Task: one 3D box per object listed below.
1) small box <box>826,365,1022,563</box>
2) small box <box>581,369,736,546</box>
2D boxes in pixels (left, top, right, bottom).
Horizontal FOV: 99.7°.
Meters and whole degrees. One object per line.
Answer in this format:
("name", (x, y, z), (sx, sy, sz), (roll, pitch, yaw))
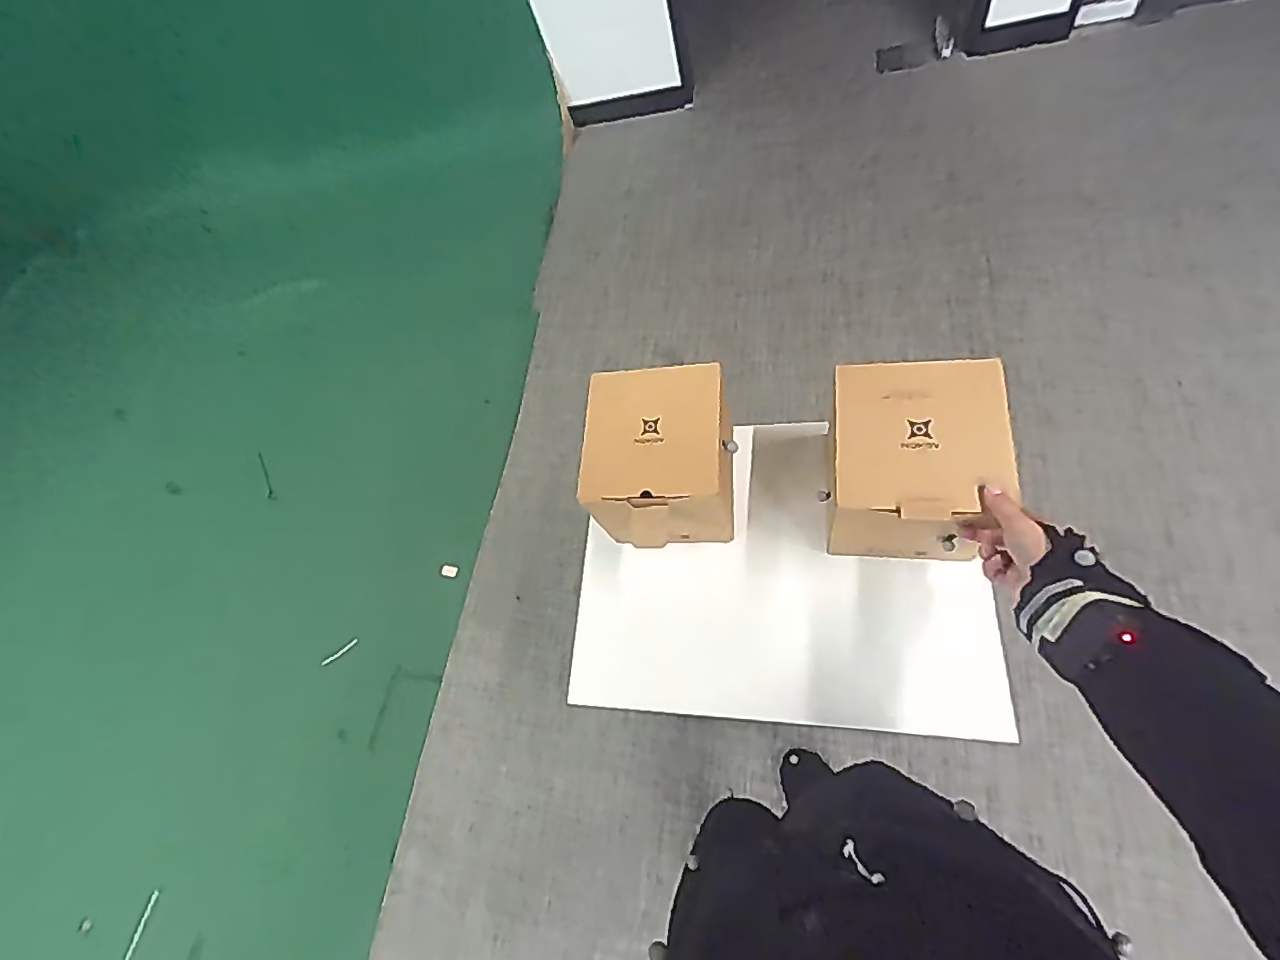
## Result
("small box", (0.307, -0.010, 0.622), (0.168, 0.176, 0.179), (1, 66, 16))
("small box", (0.035, -0.022, 0.705), (0.168, 0.176, 0.179), (-2, 67, 14))
